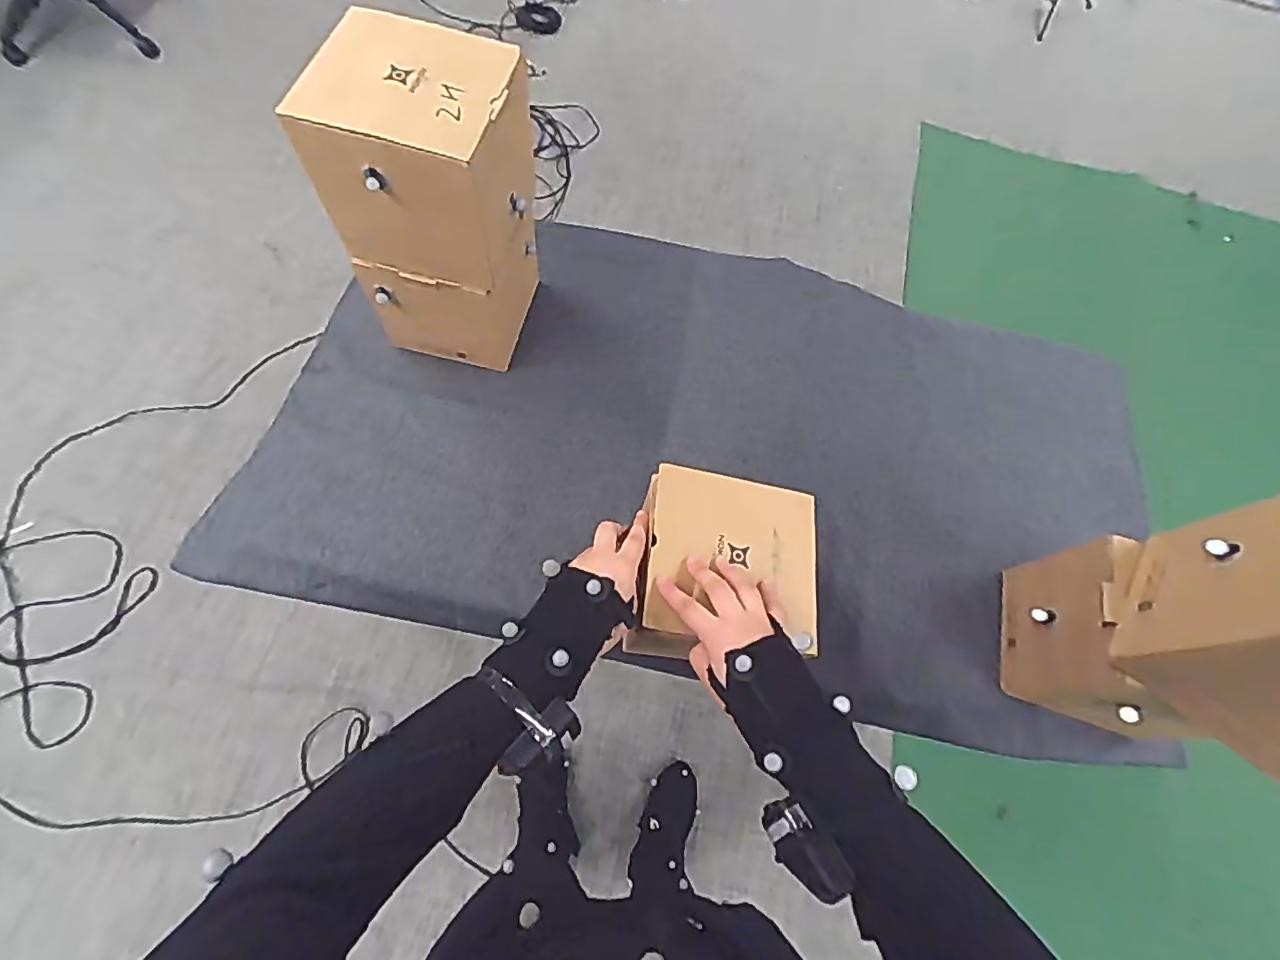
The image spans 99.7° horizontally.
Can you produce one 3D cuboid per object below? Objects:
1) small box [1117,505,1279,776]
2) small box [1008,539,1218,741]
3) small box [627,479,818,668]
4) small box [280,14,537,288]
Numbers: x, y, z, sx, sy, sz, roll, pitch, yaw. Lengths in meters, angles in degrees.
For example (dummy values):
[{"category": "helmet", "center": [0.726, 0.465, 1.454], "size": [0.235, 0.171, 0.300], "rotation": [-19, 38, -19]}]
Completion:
[{"category": "small box", "center": [0.580, 0.141, 0.468], "size": [0.179, 0.176, 0.168], "rotation": [39, 67, 10]}, {"category": "small box", "center": [0.563, 0.193, 0.623], "size": [0.179, 0.176, 0.168], "rotation": [19, 65, 2]}, {"category": "small box", "center": [0.083, 0.114, 0.607], "size": [0.179, 0.176, 0.168], "rotation": [8, 67, -3]}, {"category": "small box", "center": [-0.220, -0.333, 0.572], "size": [0.179, 0.176, 0.168], "rotation": [14, 69, -1]}]
